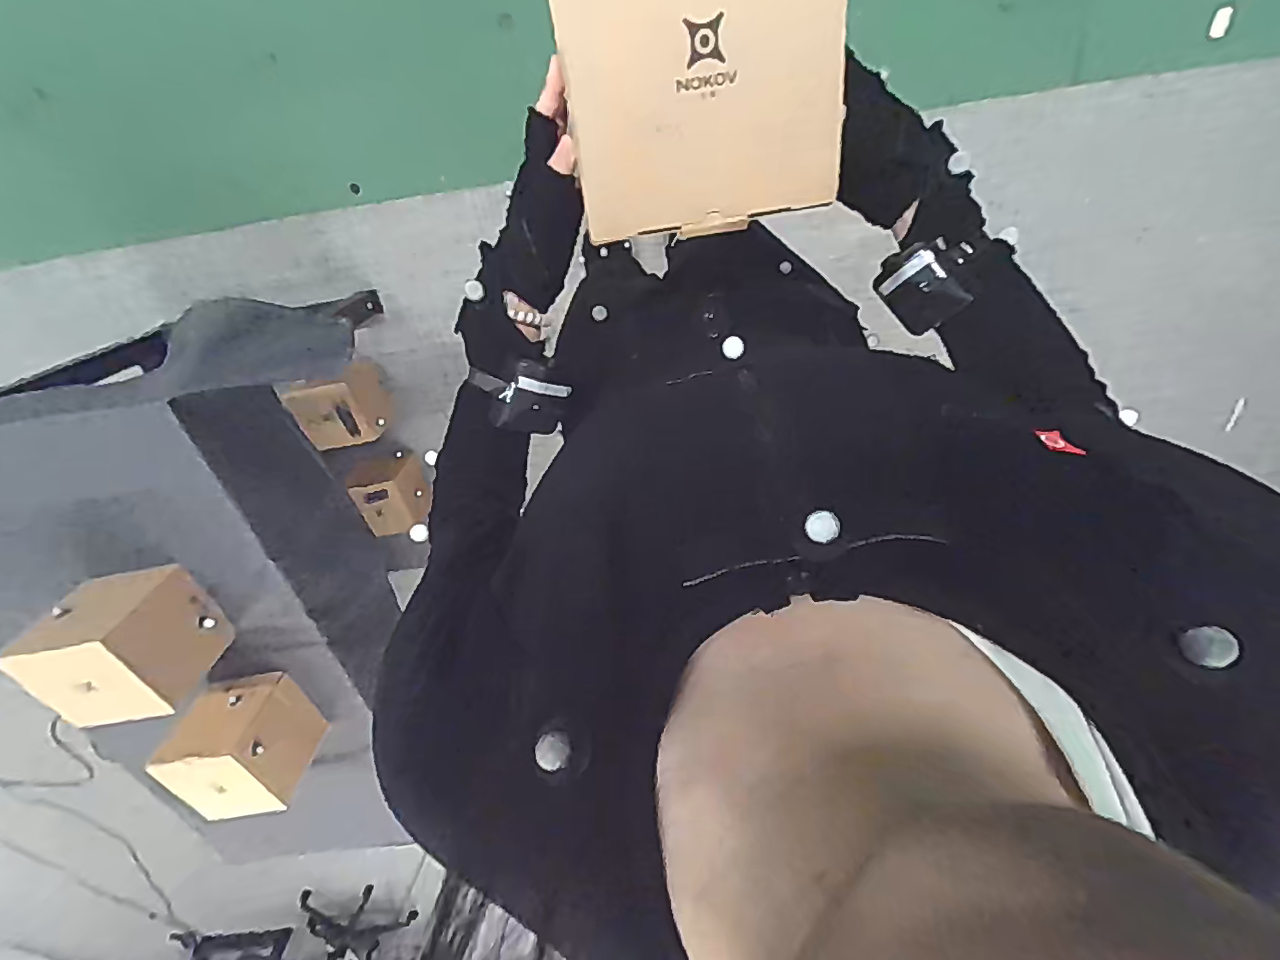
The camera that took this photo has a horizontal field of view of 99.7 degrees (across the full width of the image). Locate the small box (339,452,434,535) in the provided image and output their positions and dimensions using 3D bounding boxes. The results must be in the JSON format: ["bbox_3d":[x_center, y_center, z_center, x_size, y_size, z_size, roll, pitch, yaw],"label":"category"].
[{"bbox_3d":[-0.730,0.032,1.574,0.168,0.176,0.179,-9,123,5],"label":"small box"}]

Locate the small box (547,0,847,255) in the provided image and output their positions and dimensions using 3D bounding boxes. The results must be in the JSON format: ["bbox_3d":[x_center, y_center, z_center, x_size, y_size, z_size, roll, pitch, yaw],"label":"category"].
[{"bbox_3d":[0.029,-0.277,0.378,0.168,0.176,0.179,-10,123,-1],"label":"small box"}]

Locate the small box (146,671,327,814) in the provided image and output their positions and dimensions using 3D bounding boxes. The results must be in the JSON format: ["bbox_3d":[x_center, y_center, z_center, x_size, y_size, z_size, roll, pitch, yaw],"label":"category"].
[{"bbox_3d":[-0.729,0.484,1.004,0.168,0.176,0.179,-11,121,7],"label":"small box"}]

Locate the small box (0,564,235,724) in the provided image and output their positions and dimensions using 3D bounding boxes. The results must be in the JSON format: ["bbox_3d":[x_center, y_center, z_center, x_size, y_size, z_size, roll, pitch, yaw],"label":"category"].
[{"bbox_3d":[-0.809,0.256,0.858,0.179,0.176,0.168,-9,123,5],"label":"small box"}]
